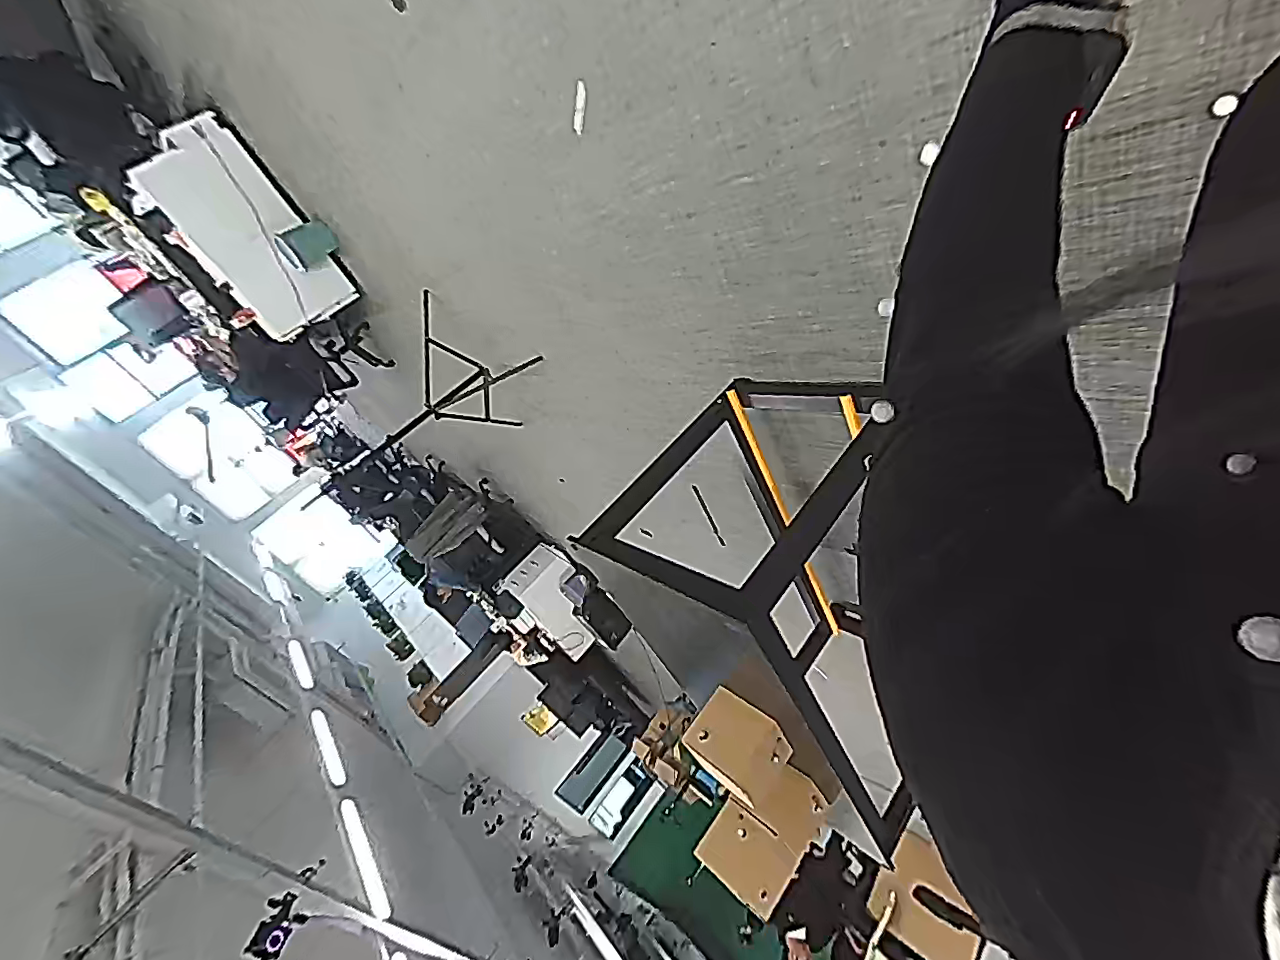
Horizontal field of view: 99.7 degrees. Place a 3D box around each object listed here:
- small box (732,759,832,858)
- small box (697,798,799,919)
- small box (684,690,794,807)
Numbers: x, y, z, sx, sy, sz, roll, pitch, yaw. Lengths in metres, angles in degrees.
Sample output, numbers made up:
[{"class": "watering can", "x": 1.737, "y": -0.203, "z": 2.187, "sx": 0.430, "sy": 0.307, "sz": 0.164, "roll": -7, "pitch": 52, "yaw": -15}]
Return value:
[{"class": "small box", "x": 0.394, "y": 0.882, "z": 1.494, "sx": 0.179, "sy": 0.176, "sz": 0.168, "roll": 9, "pitch": 141, "yaw": 53}, {"class": "small box", "x": 0.292, "y": 0.994, "z": 1.430, "sx": 0.168, "sy": 0.176, "sz": 0.179, "roll": 10, "pitch": 140, "yaw": 54}, {"class": "small box", "x": 0.246, "y": 0.647, "z": 1.328, "sx": 0.179, "sy": 0.176, "sz": 0.168, "roll": 18, "pitch": 147, "yaw": 47}]
